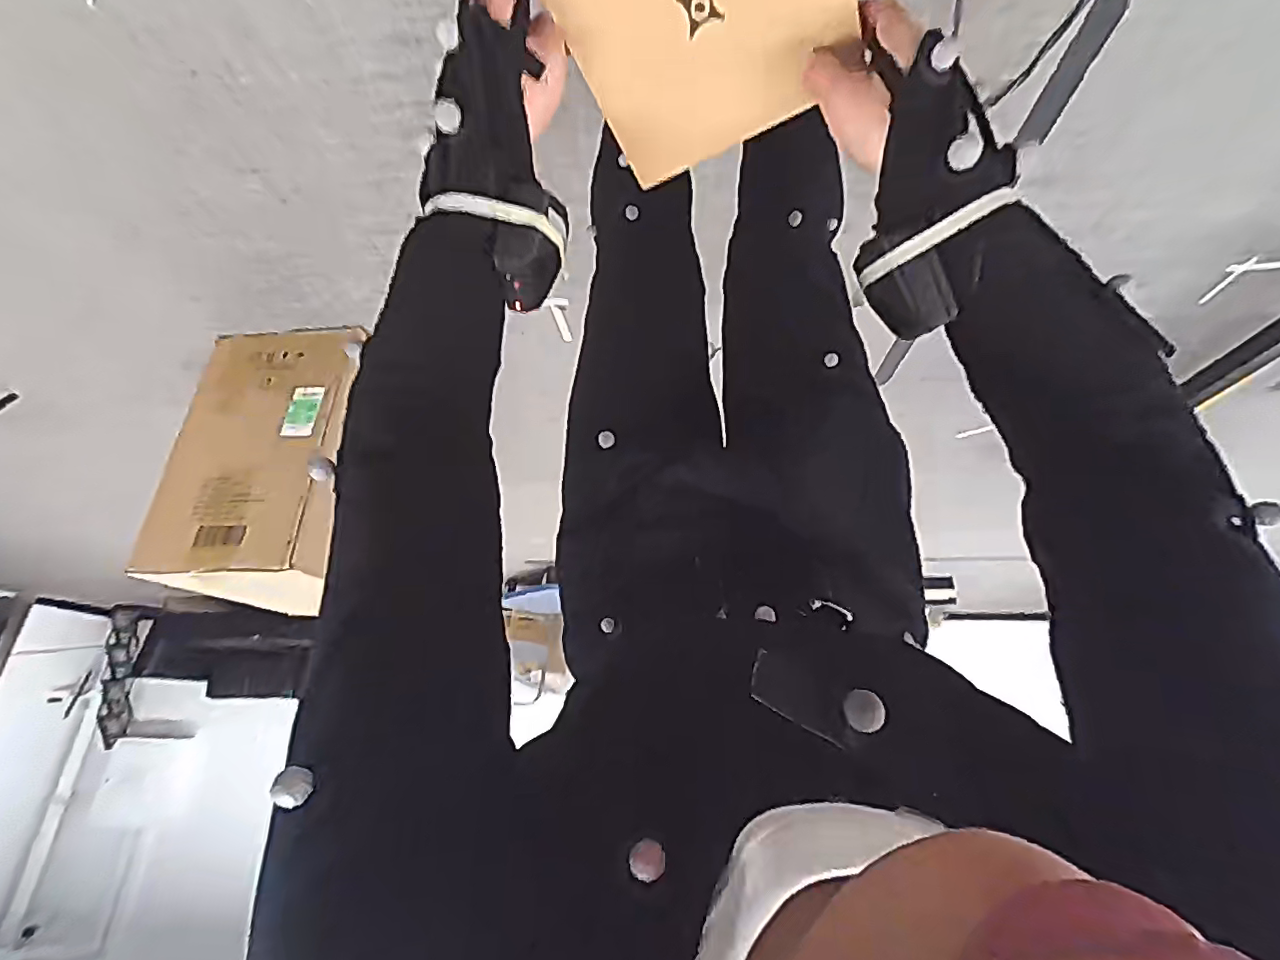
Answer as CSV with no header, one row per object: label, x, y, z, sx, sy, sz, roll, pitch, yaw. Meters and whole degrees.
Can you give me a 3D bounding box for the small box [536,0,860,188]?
small box,0.035,-0.348,0.358,0.168,0.176,0.179,-15,143,25
